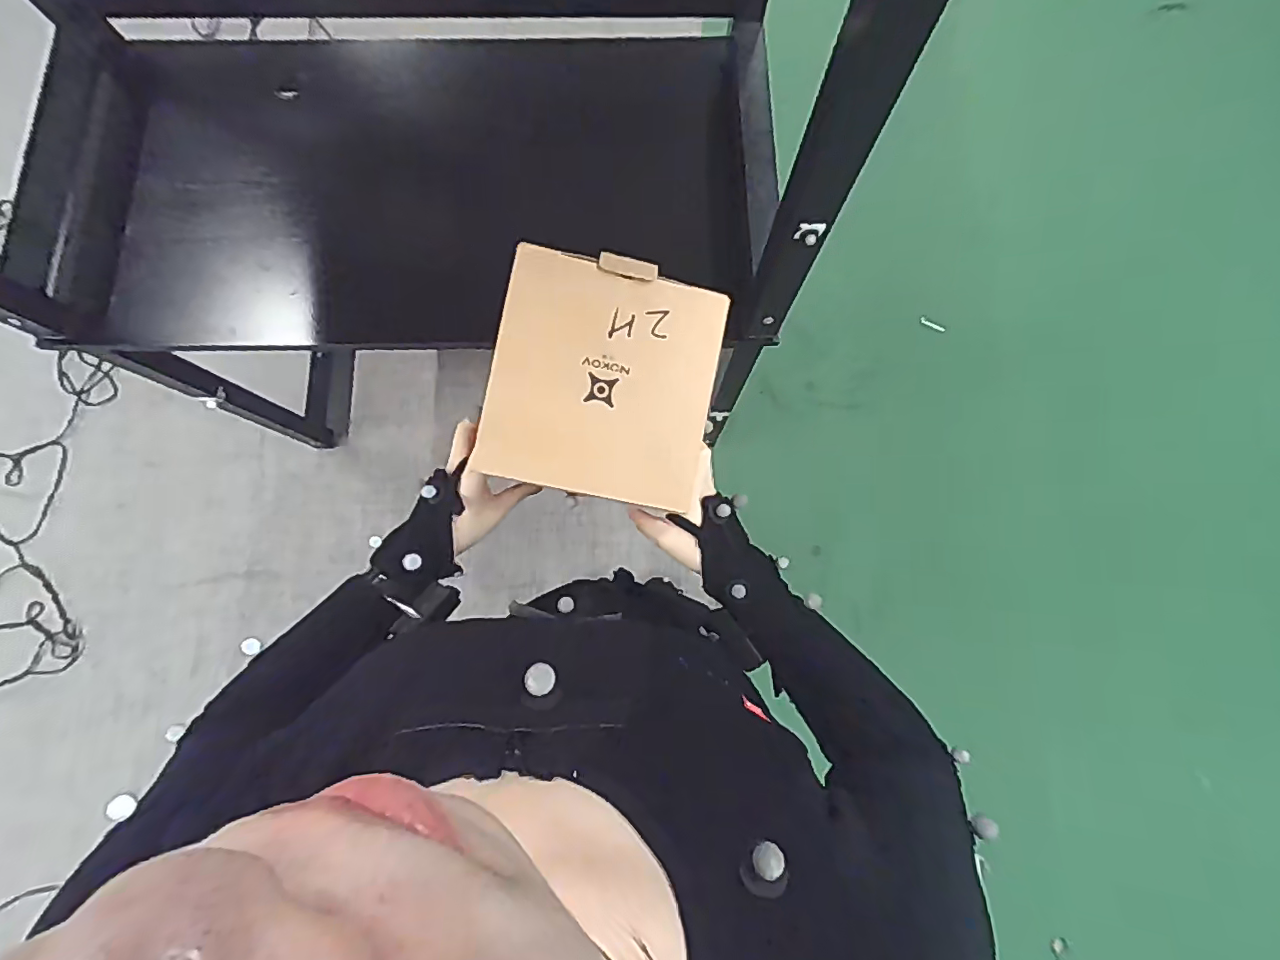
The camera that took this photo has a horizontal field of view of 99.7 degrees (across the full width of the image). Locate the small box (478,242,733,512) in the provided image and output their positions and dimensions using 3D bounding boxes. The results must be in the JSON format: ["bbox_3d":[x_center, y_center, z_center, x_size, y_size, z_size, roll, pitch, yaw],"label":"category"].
[{"bbox_3d":[-0.033,-0.074,0.485,0.168,0.176,0.179,12,87,-8],"label":"small box"}]
